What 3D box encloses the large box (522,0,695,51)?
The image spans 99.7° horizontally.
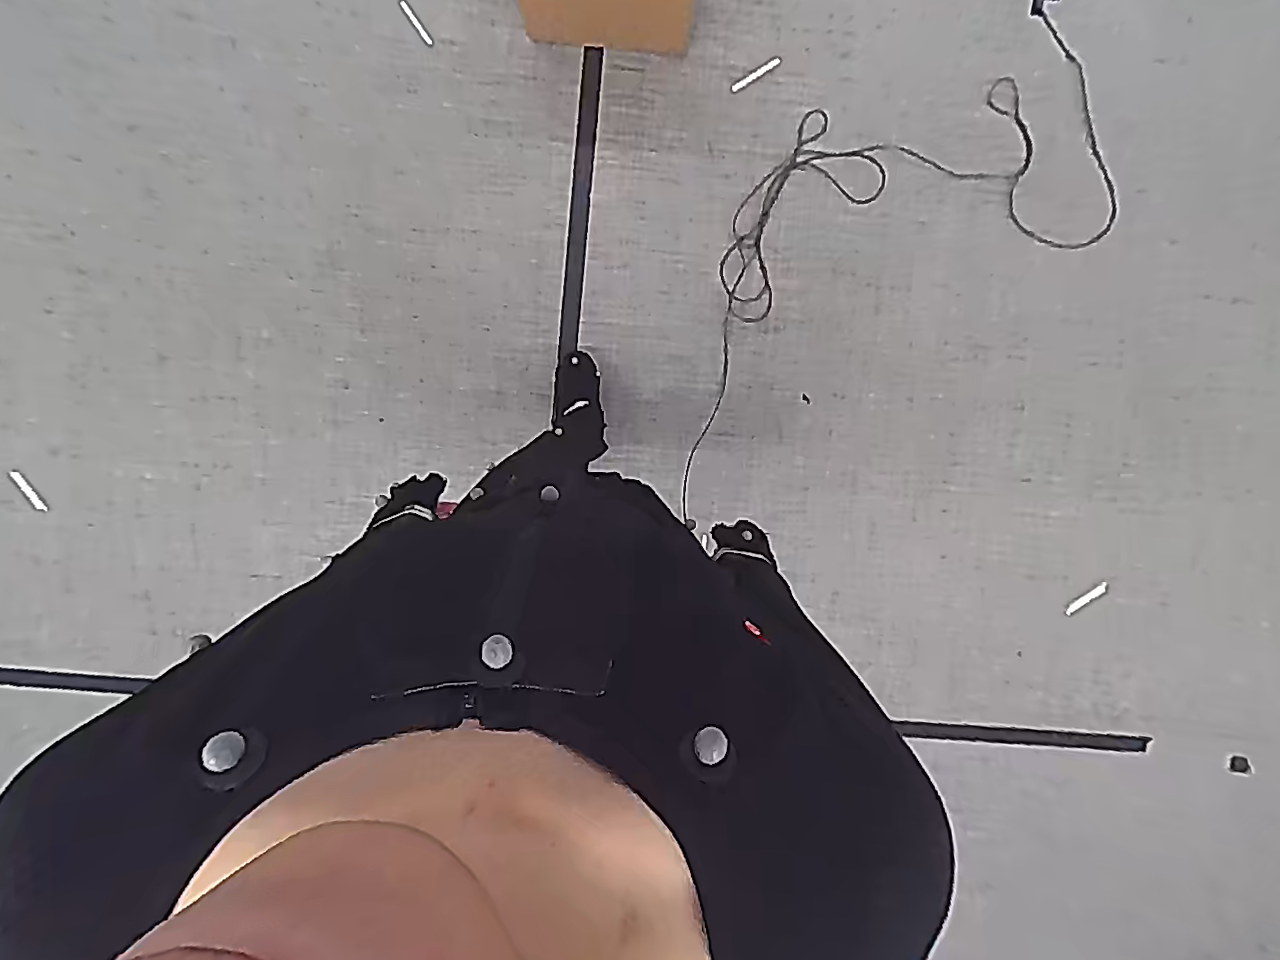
[{"bbox_3d":[-0.068,-1.236,1.211,0.408,0.320,0.320,4,95,-2],"label":"large box"}]
